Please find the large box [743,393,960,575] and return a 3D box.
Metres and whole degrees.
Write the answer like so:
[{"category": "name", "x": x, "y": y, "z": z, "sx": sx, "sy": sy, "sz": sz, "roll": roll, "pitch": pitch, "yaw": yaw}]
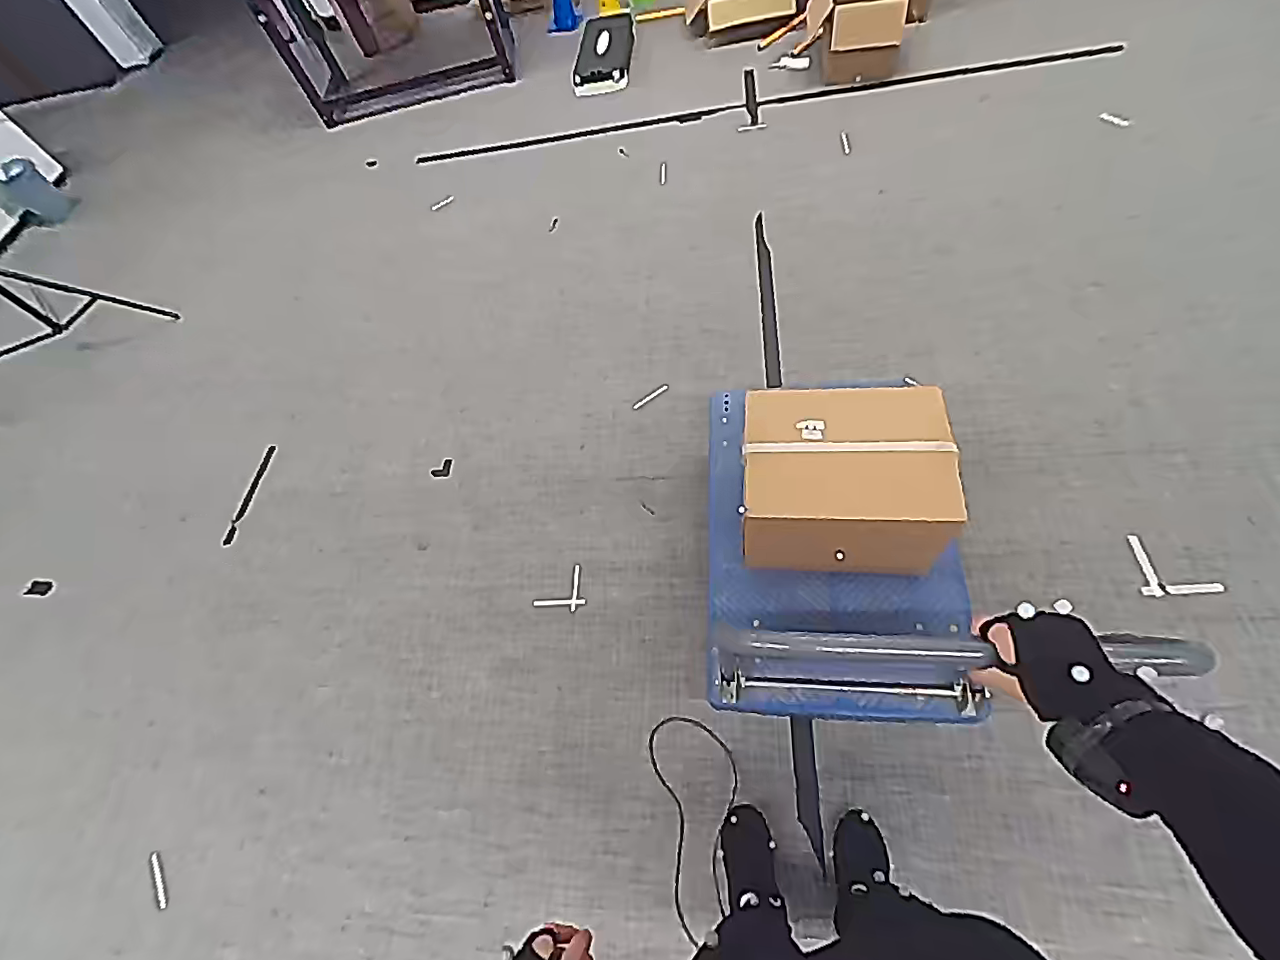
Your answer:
[{"category": "large box", "x": 0.445, "y": 0.023, "z": 1.244, "sx": 0.408, "sy": 0.320, "sz": 0.320, "roll": 0, "pitch": 60, "yaw": 12}]
